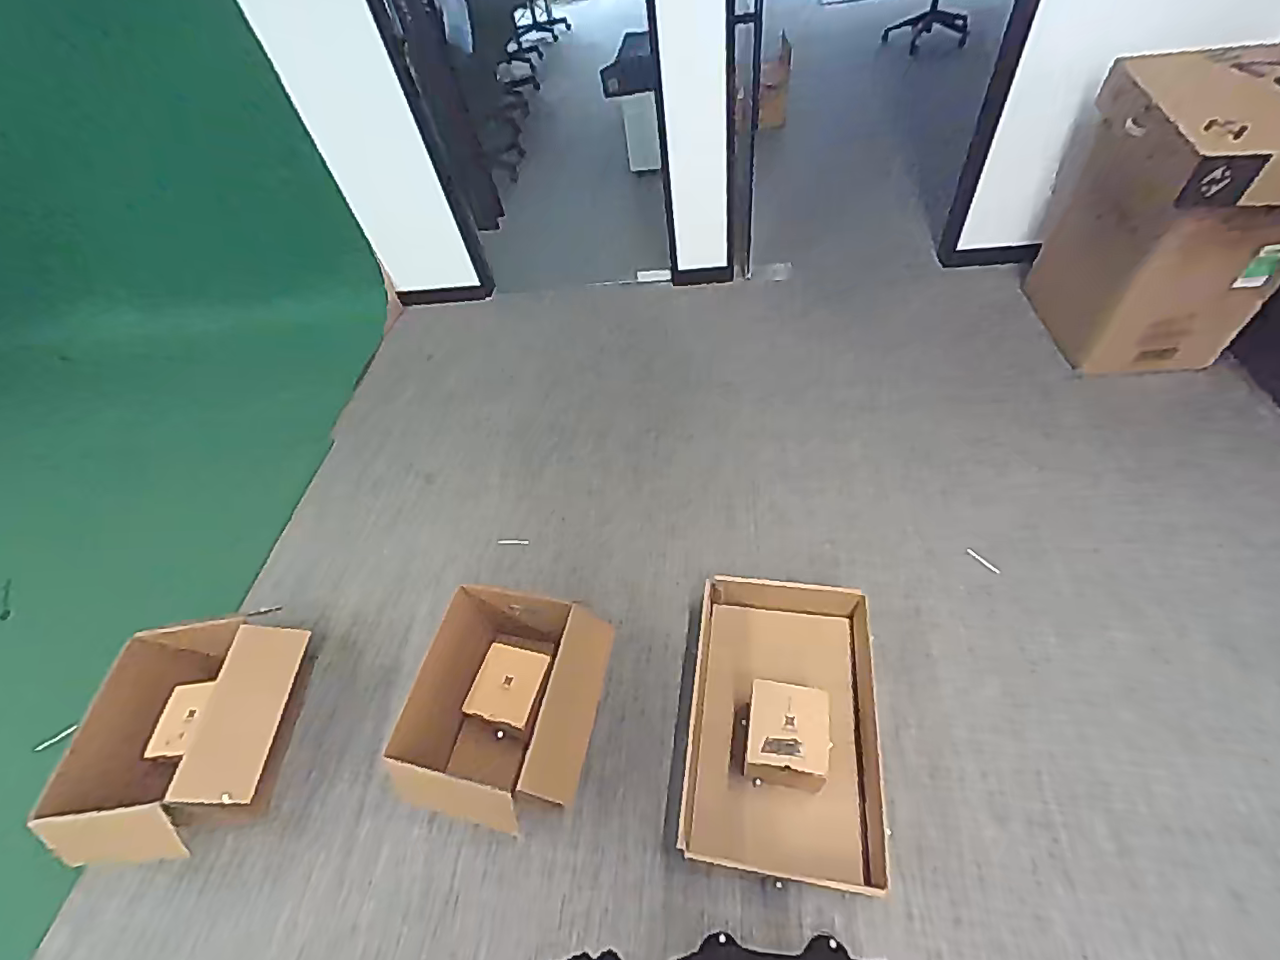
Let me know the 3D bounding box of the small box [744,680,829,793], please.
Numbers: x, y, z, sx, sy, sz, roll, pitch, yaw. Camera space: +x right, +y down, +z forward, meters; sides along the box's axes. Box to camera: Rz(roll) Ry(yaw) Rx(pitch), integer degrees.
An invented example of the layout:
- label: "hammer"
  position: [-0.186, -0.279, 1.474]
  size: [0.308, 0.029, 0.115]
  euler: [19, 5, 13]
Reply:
- label: "small box"
  position: [0.324, 0.575, 1.204]
  size: [0.168, 0.176, 0.179]
  euler: [6, 51, 13]
